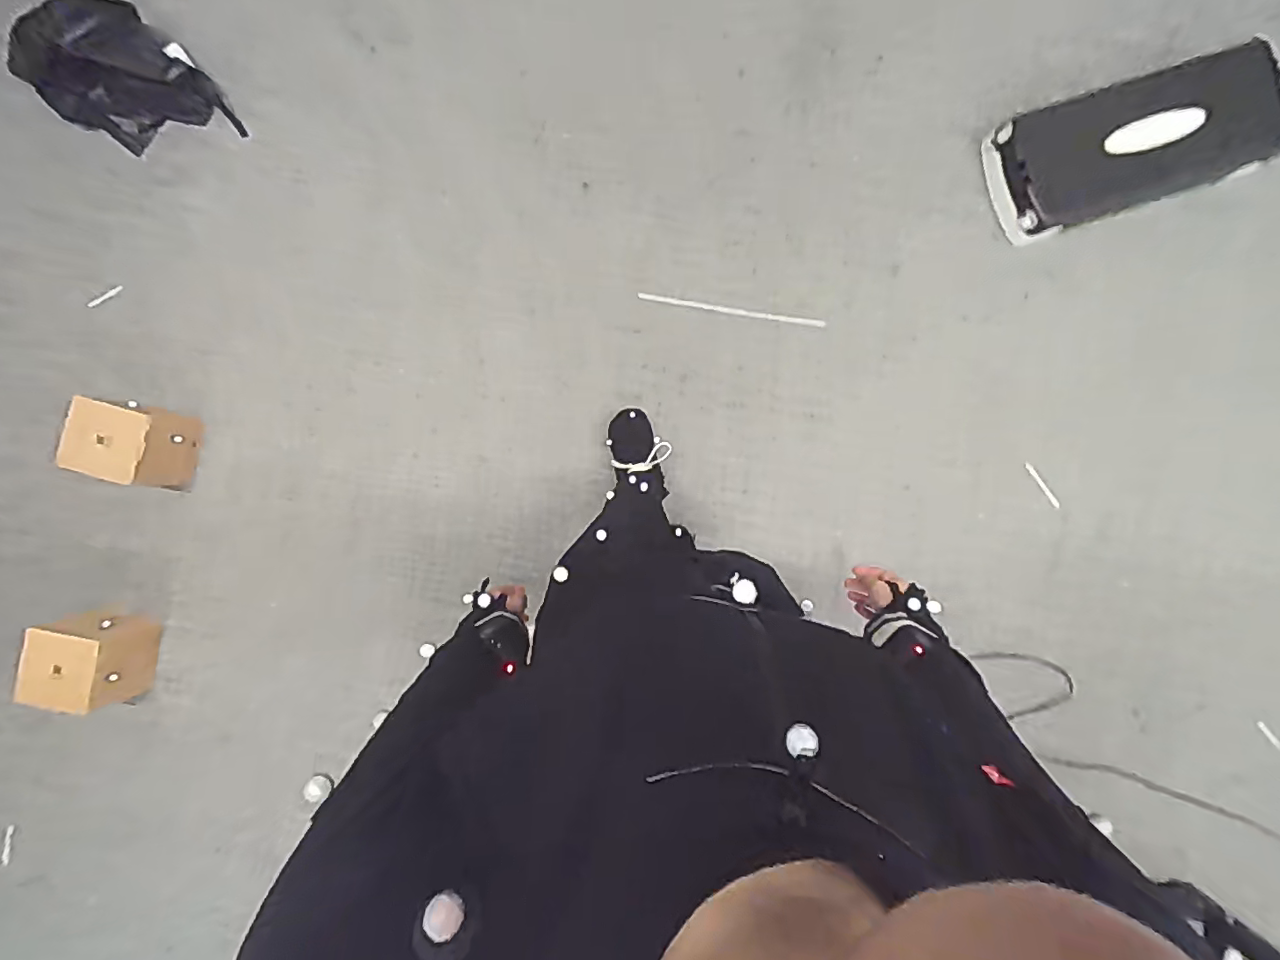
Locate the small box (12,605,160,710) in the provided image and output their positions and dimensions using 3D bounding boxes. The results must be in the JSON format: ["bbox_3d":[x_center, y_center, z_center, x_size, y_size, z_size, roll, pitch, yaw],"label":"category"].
[{"bbox_3d":[-1.296,0.409,1.278,0.168,0.176,0.179,12,92,-1],"label":"small box"}]

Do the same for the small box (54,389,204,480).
[{"bbox_3d":[-1.184,-0.102,1.268,0.179,0.176,0.168,16,90,0],"label":"small box"}]
